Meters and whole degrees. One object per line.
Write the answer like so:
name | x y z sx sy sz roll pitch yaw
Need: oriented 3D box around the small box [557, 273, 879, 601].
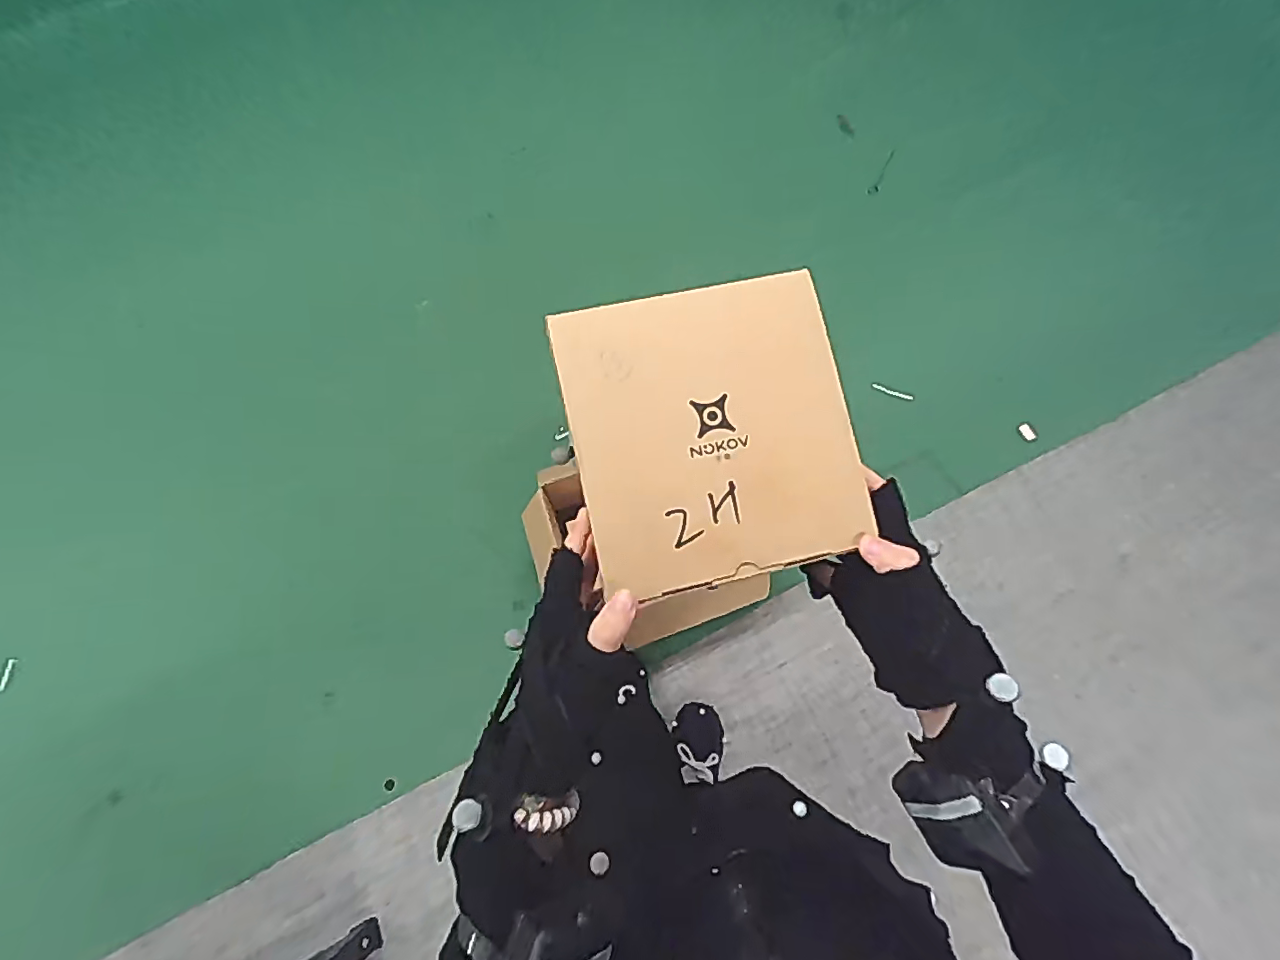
small box | 0.038 -0.020 0.397 0.168 0.176 0.179 -12 85 -6
